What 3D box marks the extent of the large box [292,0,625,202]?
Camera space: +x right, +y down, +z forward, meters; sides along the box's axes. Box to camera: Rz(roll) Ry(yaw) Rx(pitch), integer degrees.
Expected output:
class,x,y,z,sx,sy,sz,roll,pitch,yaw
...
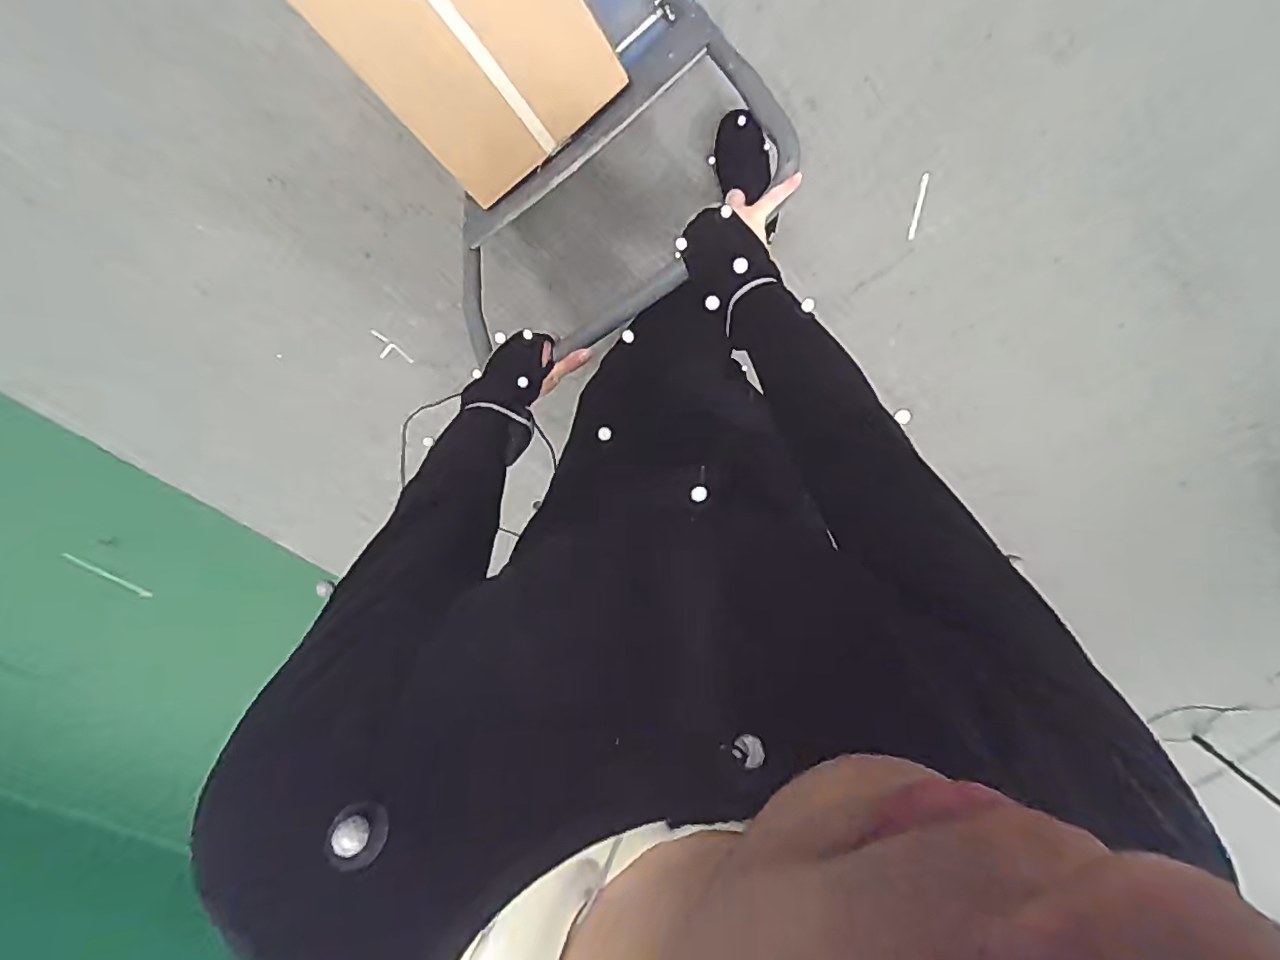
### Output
class,x,y,z,sx,sy,sz,roll,pitch,yaw
large box,-0.273,-0.751,0.848,0.320,0.320,0.408,-30,136,21
